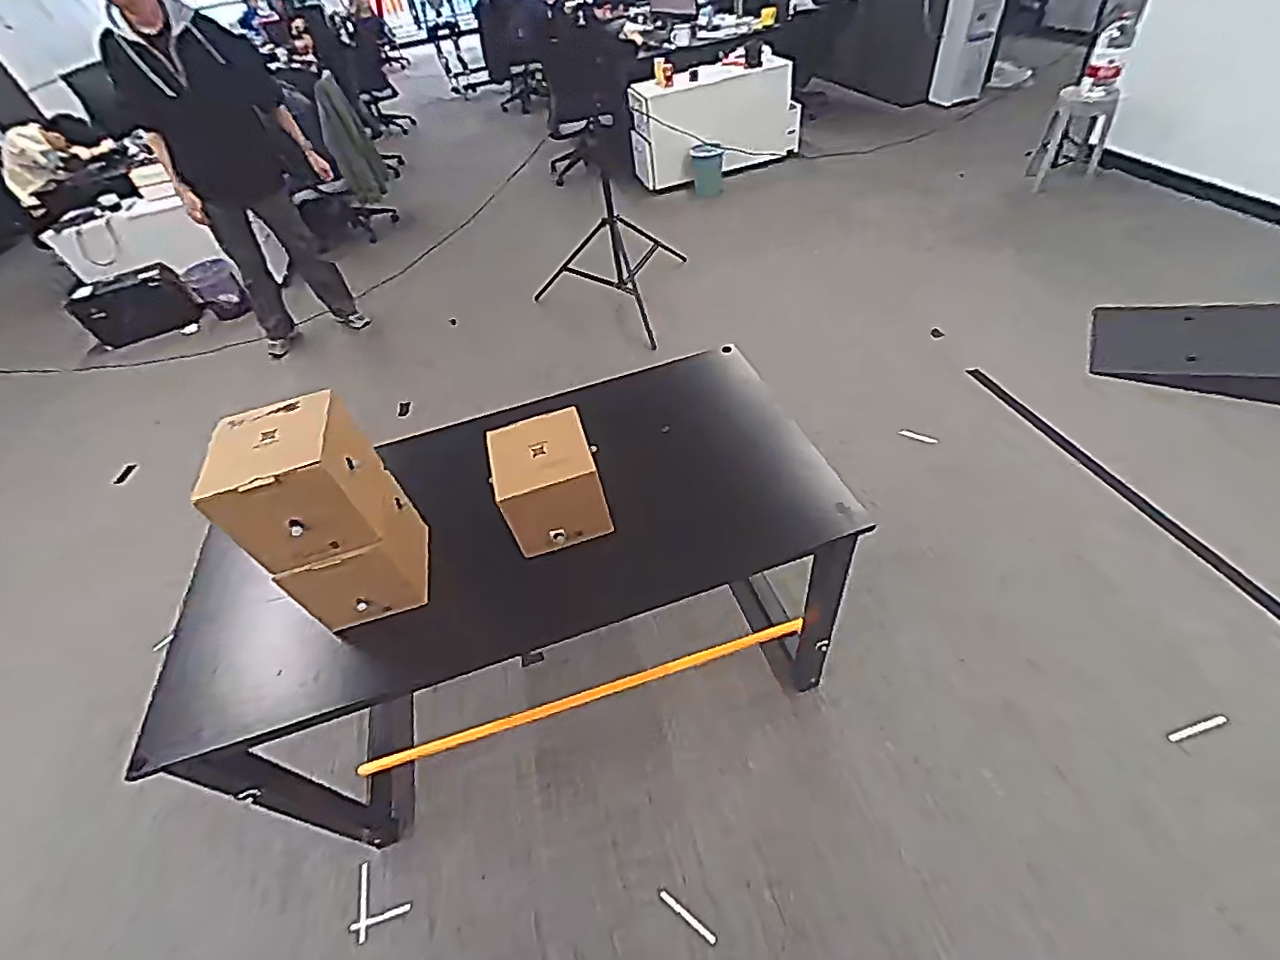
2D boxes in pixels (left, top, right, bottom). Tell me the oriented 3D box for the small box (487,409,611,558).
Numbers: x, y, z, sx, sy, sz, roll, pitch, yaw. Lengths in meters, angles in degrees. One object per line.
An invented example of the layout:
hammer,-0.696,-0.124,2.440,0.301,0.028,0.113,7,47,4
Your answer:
small box,-0.160,0.008,0.964,0.168,0.176,0.179,-19,48,-6

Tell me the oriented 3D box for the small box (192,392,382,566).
small box,-0.499,0.005,0.798,0.168,0.176,0.179,-18,48,-7

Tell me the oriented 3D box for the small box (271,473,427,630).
small box,-0.474,0.121,0.911,0.168,0.176,0.179,-16,47,-5
